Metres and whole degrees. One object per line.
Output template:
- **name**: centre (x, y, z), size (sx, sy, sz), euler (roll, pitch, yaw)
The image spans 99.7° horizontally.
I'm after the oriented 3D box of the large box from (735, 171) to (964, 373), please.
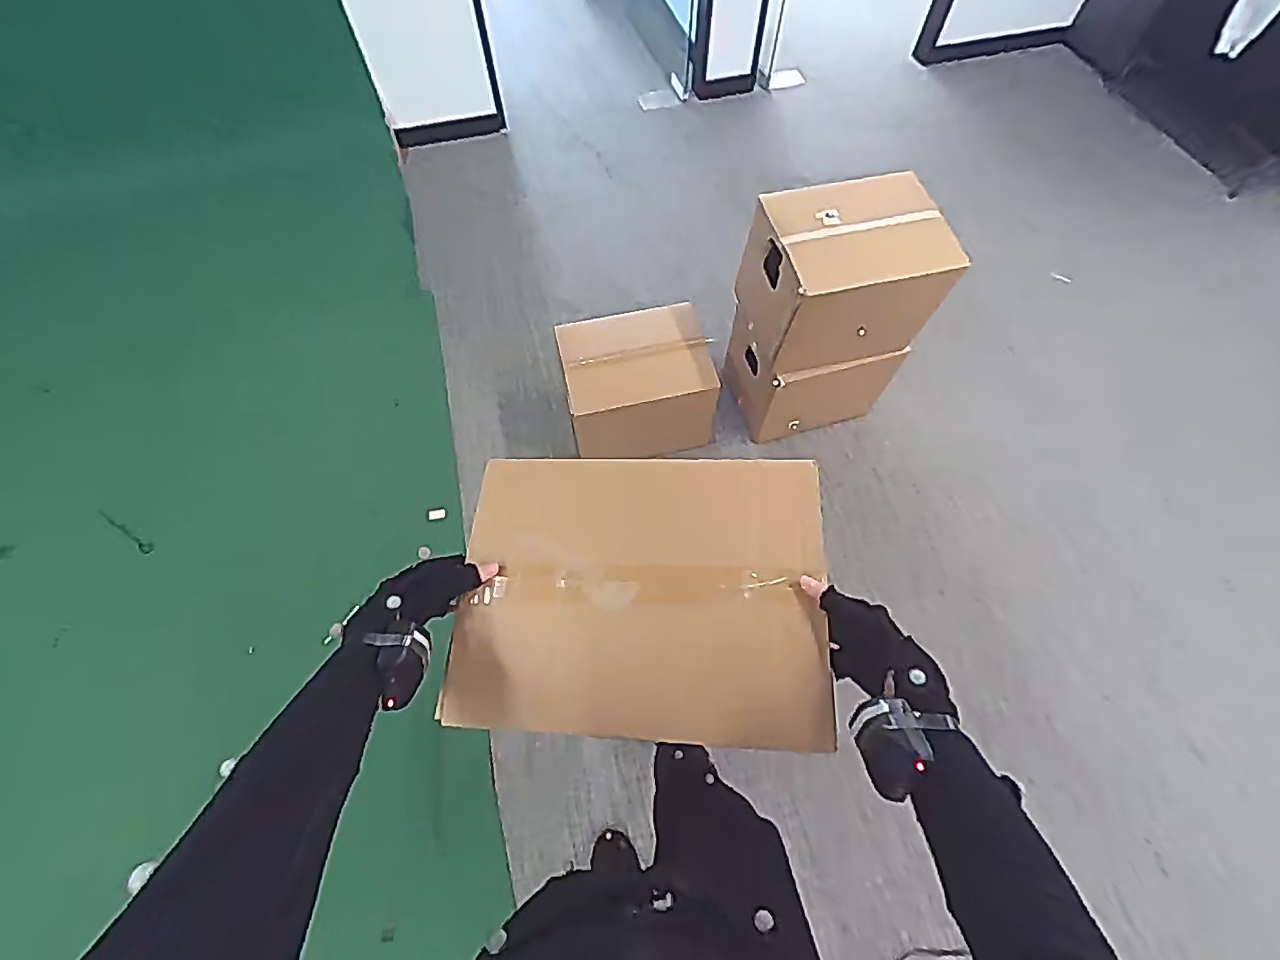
- **large box**: centre (0.500, -0.516, 1.379), size (0.408, 0.320, 0.320), euler (-13, 68, -6)
